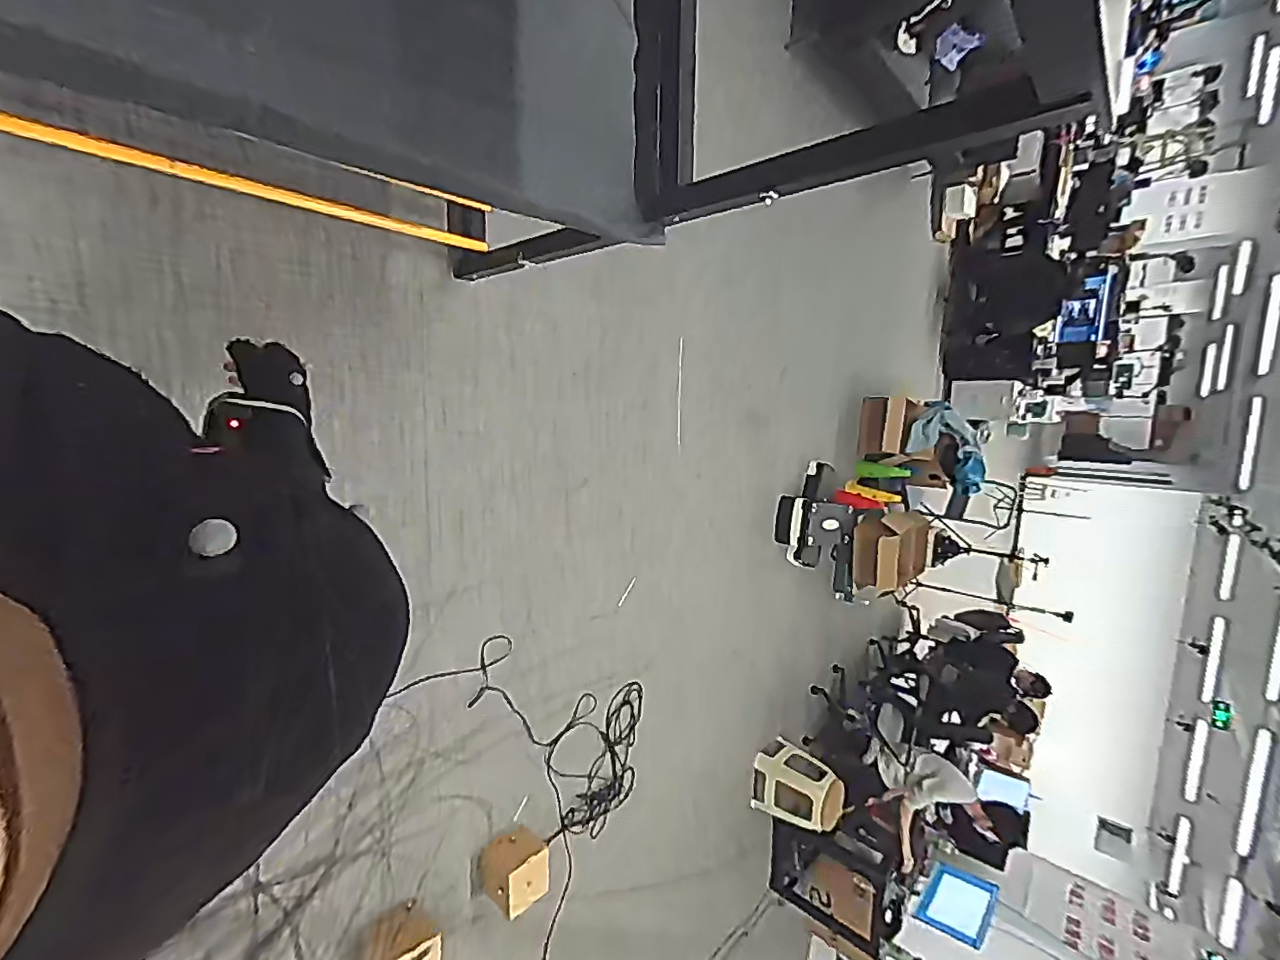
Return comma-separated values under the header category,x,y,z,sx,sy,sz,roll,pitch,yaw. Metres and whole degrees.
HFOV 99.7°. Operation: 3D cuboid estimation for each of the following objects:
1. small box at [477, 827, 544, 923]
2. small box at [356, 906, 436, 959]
category,x,y,z,sx,sy,sz,roll,pitch,yaw
small box,-0.452,1.366,1.886,0.168,0.176,0.179,-8,101,-48
small box,-0.720,1.407,1.587,0.168,0.176,0.179,-1,97,-49
